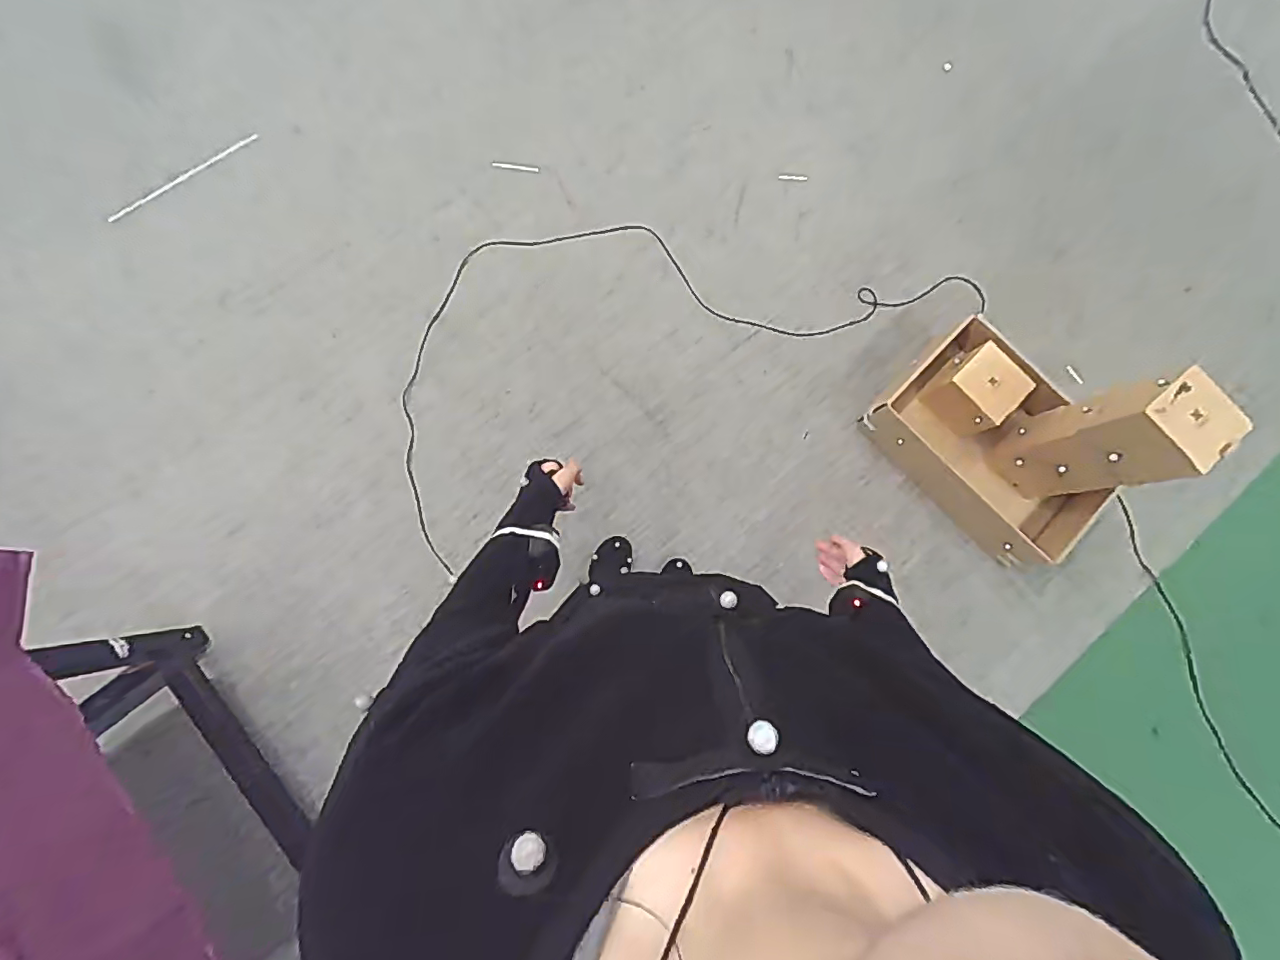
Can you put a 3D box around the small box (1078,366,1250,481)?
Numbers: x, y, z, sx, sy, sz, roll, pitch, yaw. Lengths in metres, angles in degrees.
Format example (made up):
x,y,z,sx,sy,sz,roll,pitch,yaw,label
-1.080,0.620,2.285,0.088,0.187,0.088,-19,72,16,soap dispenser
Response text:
x,y,z,sx,sy,sz,roll,pitch,yaw,label
1.134,-0.112,1.183,0.168,0.176,0.179,-38,85,-8,small box

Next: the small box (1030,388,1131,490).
x,y,z,sx,sy,sz,roll,pitch,yaw,label
1.135,-0.096,1.349,0.179,0.176,0.168,-42,85,-8,small box

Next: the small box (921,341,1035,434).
x,y,z,sx,sy,sz,roll,pitch,yaw,label
0.942,-0.253,1.526,0.168,0.176,0.179,-43,87,-7,small box
